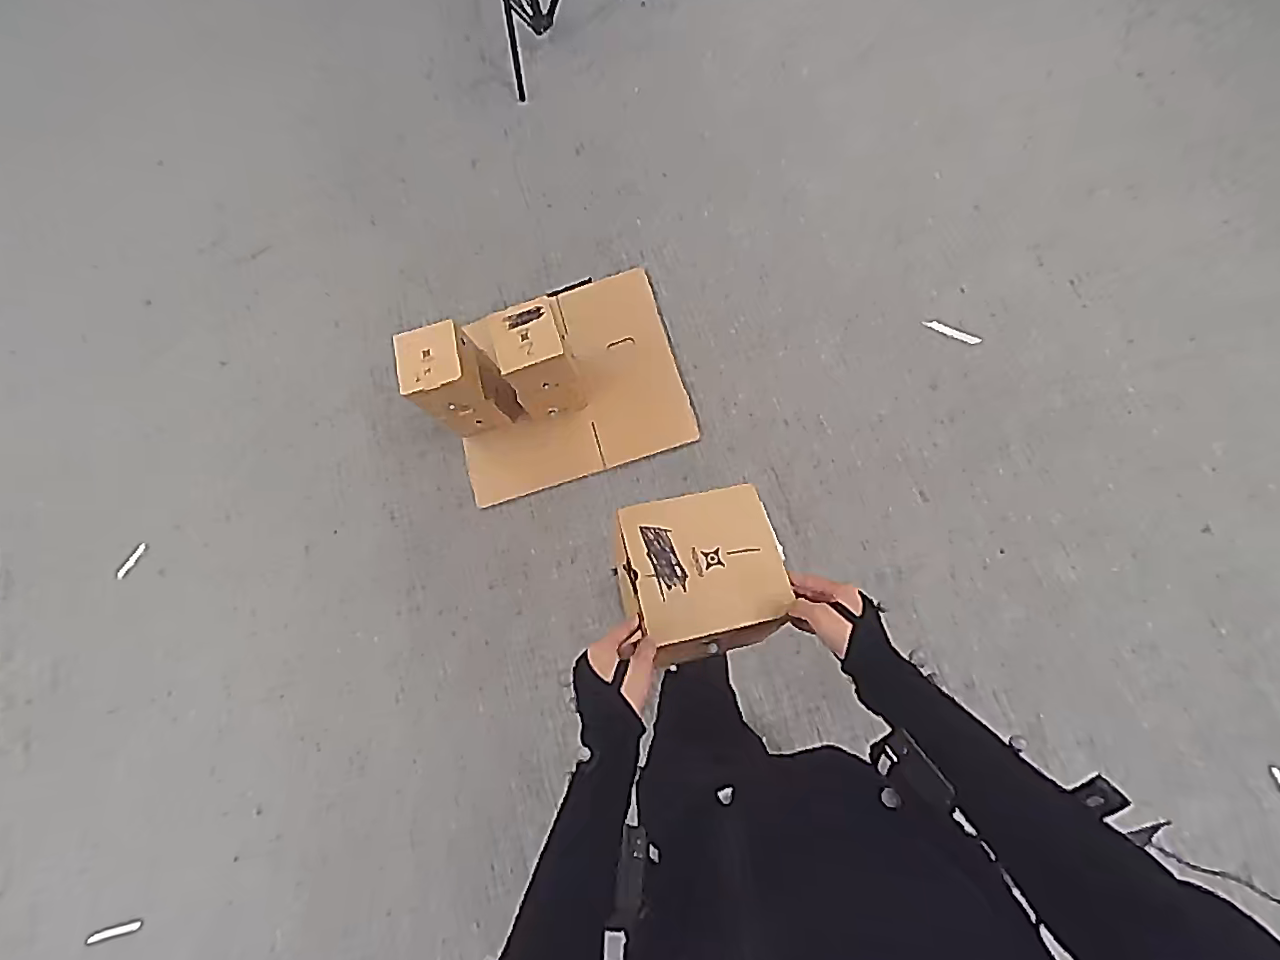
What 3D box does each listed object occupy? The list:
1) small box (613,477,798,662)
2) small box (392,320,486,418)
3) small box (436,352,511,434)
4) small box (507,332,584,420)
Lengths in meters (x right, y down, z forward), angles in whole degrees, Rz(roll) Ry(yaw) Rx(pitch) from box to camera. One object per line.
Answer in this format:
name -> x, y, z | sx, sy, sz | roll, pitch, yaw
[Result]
small box -> 0.066, 0.118, 0.675 | 0.179, 0.176, 0.168 | -10, 64, -10
small box -> -0.527, -0.287, 1.431 | 0.168, 0.176, 0.179 | -15, 75, 4
small box -> -0.495, -0.245, 1.588 | 0.168, 0.176, 0.179 | -16, 76, 4
small box -> -0.271, -0.296, 1.572 | 0.168, 0.176, 0.179 | -14, 75, 4
